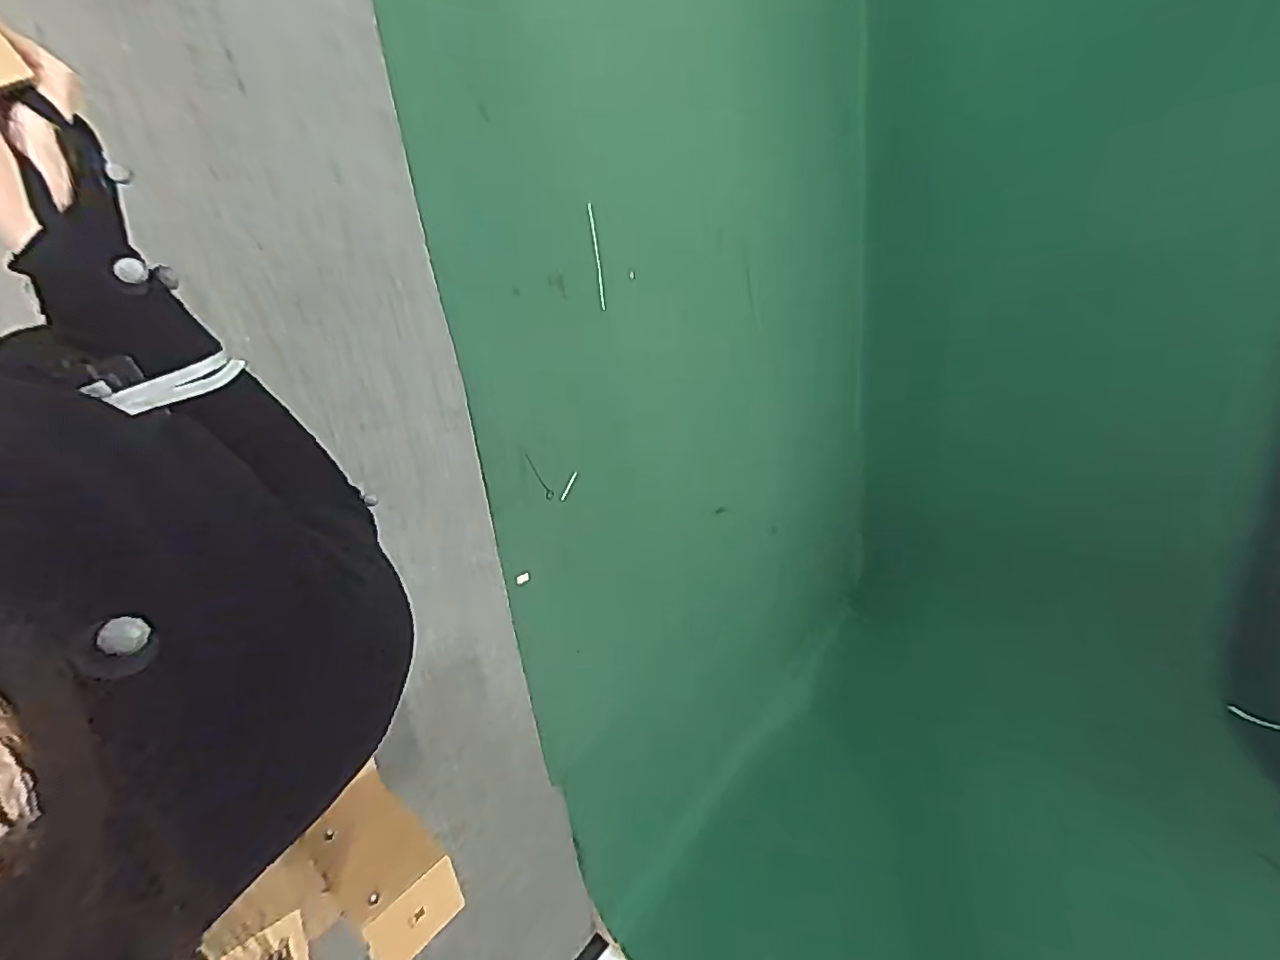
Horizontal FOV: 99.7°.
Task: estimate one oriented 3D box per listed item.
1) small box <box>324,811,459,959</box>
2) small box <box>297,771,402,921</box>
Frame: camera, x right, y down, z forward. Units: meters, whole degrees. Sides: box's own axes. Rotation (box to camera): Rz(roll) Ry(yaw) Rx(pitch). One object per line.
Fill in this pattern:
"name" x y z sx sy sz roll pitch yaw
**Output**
"small box" -0.502 0.827 1.099 0.179 0.176 0.168 -27 120 -42
"small box" -0.628 0.799 1.198 0.179 0.176 0.168 -29 121 -42
